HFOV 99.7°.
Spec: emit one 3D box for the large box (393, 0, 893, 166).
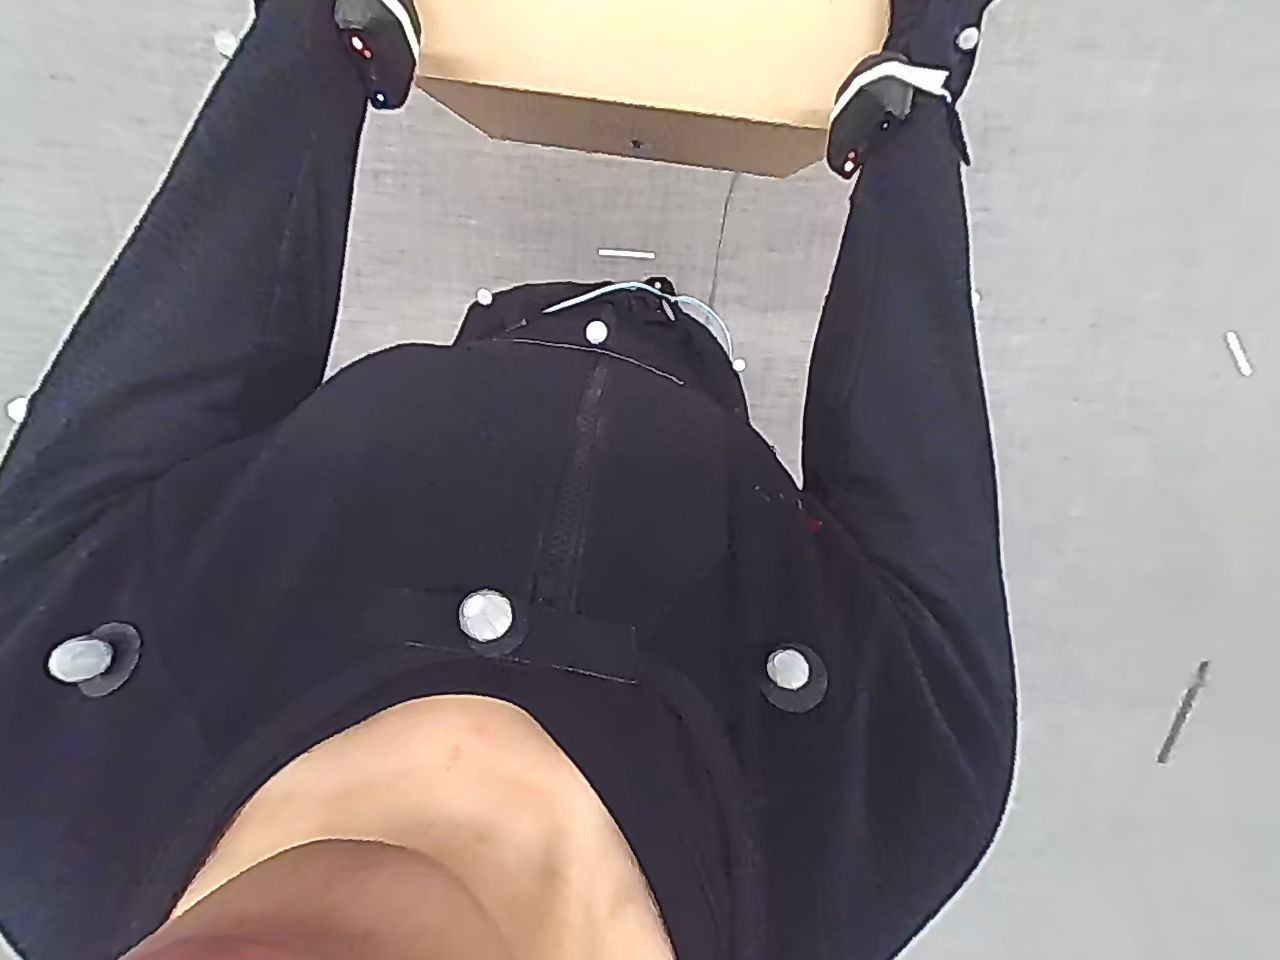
[{"bbox_3d":[0.016,-0.521,0.531,0.408,0.320,0.320,7,112,-1],"label":"large box"}]
